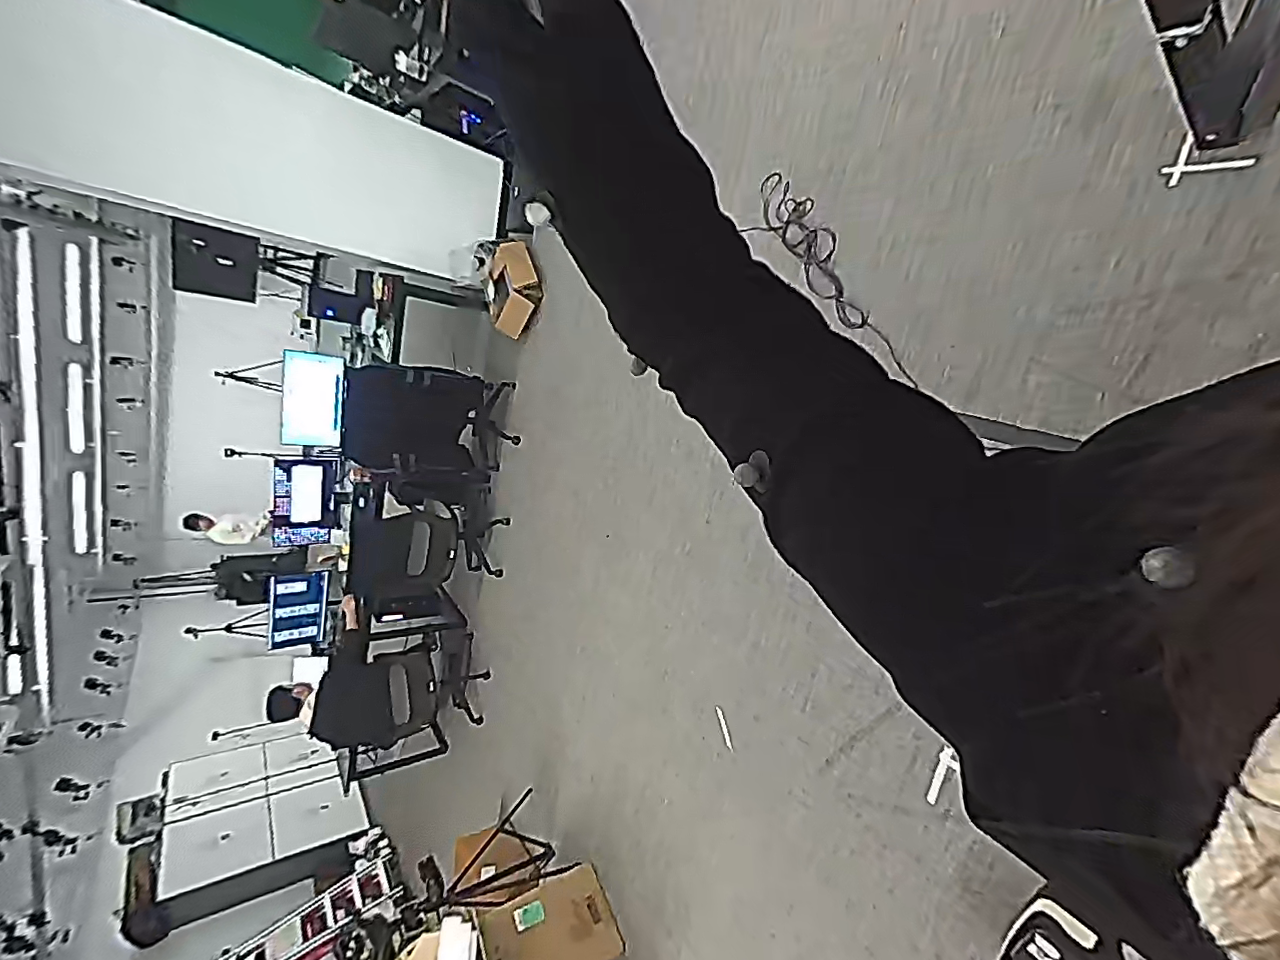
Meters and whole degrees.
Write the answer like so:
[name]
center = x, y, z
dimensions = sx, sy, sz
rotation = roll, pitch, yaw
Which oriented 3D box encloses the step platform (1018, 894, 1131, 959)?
[step platform]
center = 1.055, 1.168, 0.954
dimensions = 0.684, 0.204, 0.286
rotation = 36, 116, 45
